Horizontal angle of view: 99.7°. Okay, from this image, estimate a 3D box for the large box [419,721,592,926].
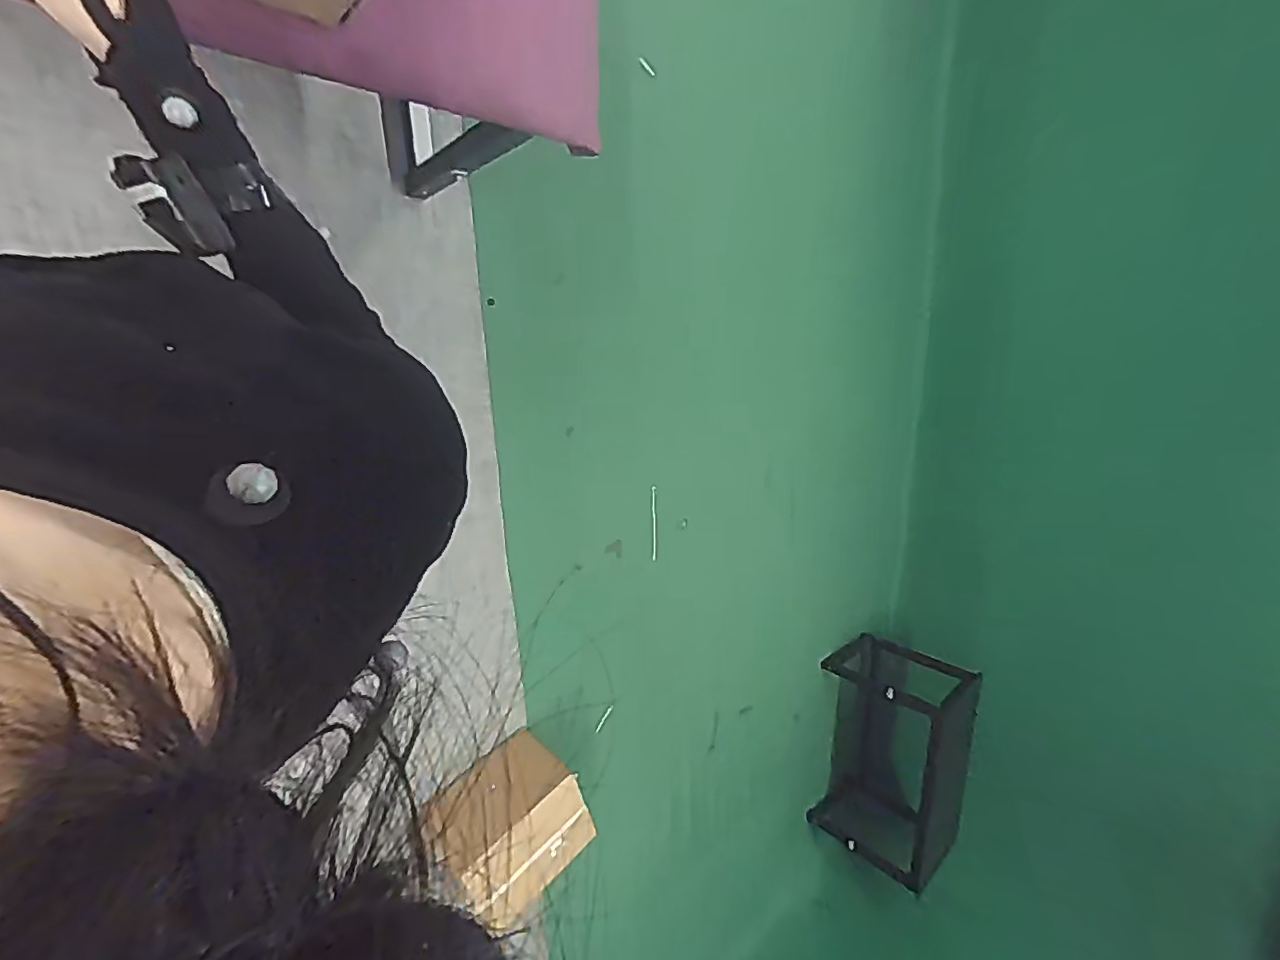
[{"bbox_3d":[-0.433,1.099,1.775,0.408,0.320,0.320,-31,120,-35],"label":"large box"}]
